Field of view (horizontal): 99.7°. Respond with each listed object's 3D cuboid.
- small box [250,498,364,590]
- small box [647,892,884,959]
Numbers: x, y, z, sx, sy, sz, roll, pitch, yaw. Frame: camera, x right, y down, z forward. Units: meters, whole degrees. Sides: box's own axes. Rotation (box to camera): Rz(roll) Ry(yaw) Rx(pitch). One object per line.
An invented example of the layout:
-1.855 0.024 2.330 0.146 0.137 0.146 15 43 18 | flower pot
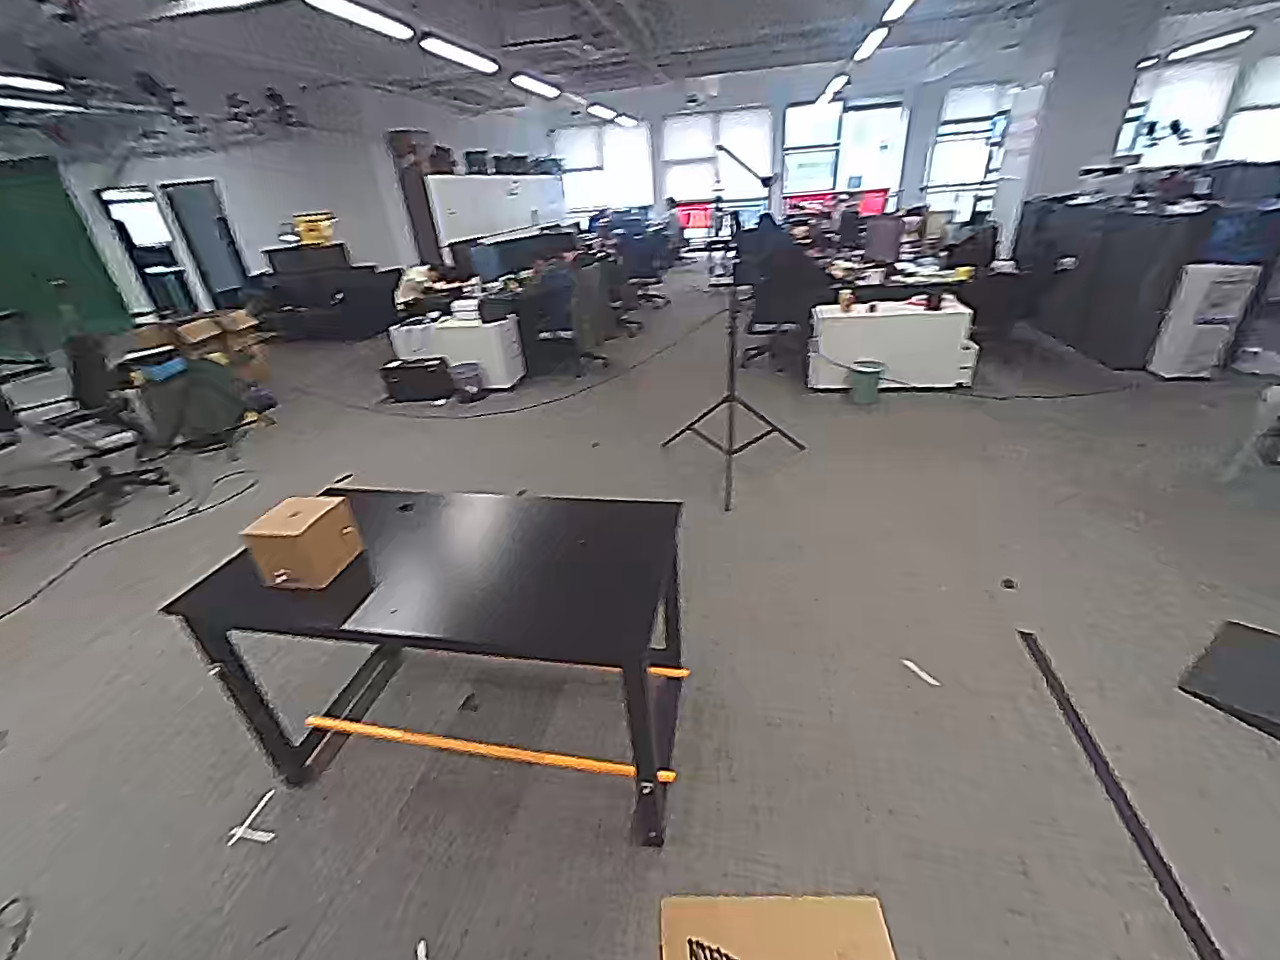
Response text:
-0.847 0.162 1.401 0.168 0.176 0.179 0 29 10 | small box
0.096 0.443 0.411 0.179 0.176 0.168 -1 35 1 | small box
